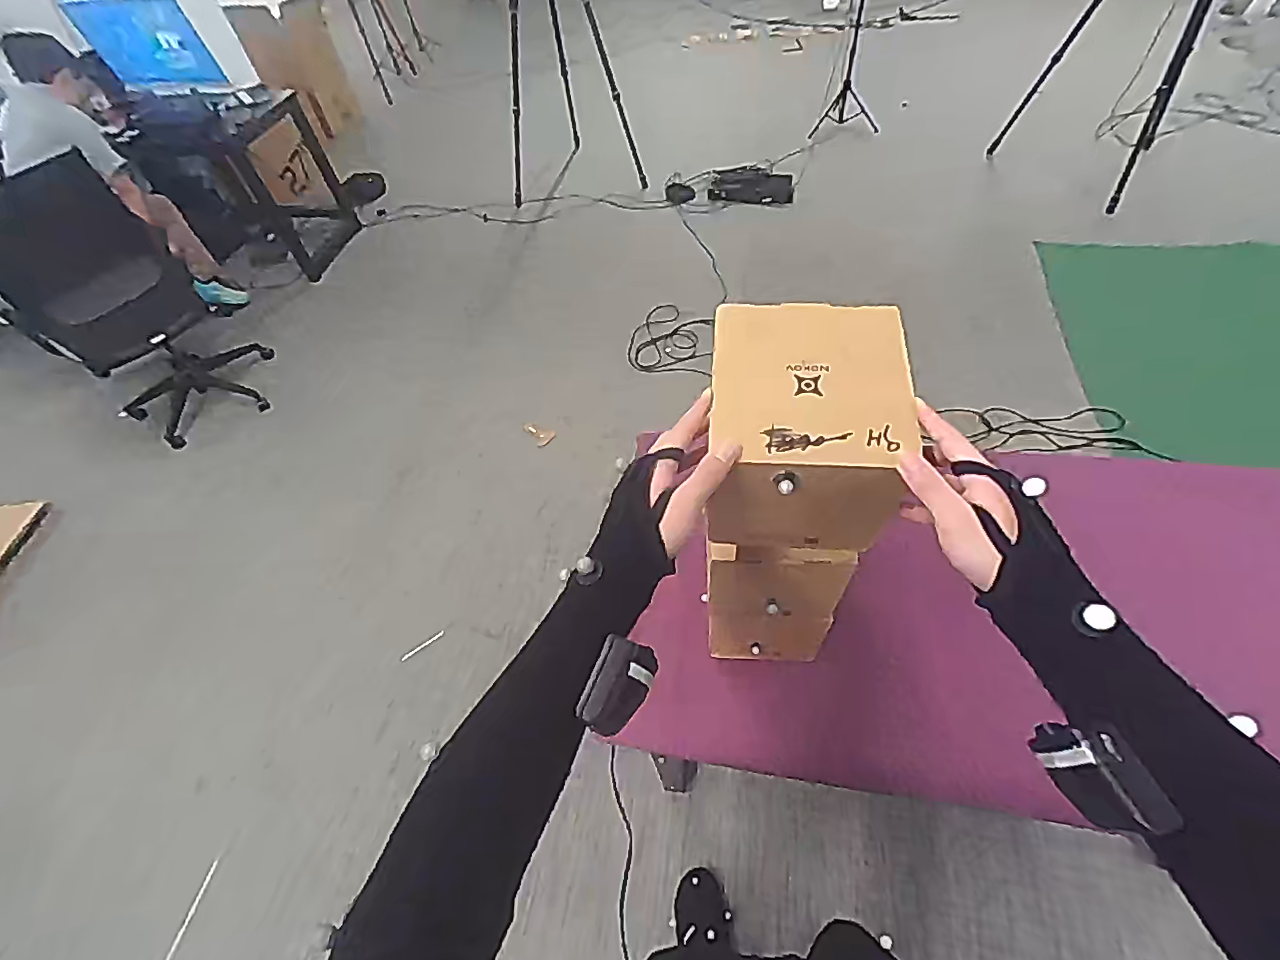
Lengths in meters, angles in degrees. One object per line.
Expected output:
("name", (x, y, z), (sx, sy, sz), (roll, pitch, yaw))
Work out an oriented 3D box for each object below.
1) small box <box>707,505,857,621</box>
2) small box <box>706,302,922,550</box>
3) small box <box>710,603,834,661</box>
("small box", (0.174, 0.070, 0.723), (0.168, 0.176, 0.179), (0, 53, 7))
("small box", (0.152, -0.050, 0.529), (0.168, 0.176, 0.179), (2, 60, 9))
("small box", (0.196, 0.169, 0.853), (0.168, 0.176, 0.179), (0, 54, 7))
